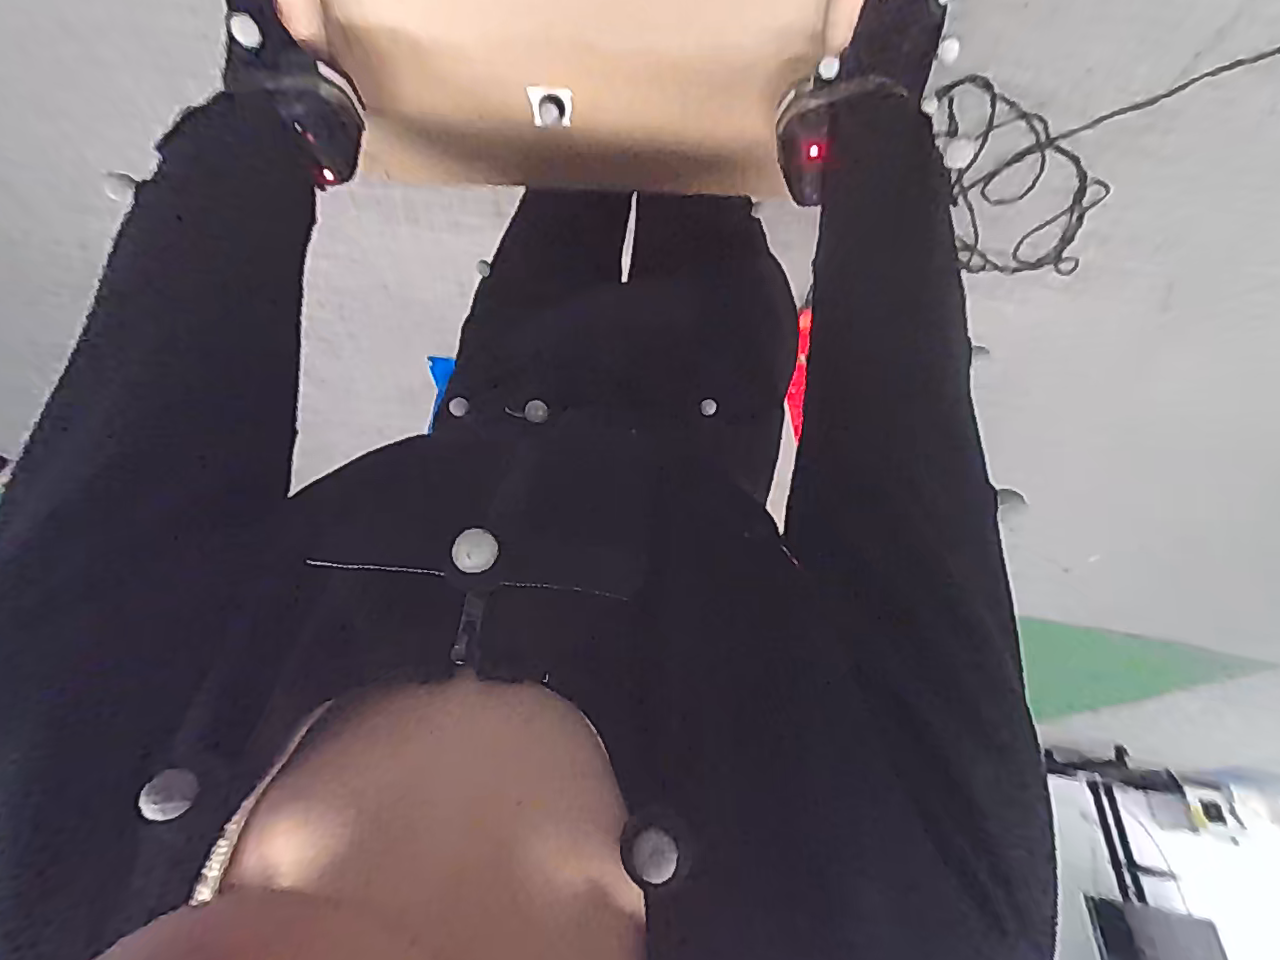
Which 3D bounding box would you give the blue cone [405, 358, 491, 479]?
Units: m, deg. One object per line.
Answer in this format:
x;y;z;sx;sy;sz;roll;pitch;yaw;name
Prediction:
-0.588;-0.164;1.586;0.192;0.380;0.193;10;146;2;blue cone
